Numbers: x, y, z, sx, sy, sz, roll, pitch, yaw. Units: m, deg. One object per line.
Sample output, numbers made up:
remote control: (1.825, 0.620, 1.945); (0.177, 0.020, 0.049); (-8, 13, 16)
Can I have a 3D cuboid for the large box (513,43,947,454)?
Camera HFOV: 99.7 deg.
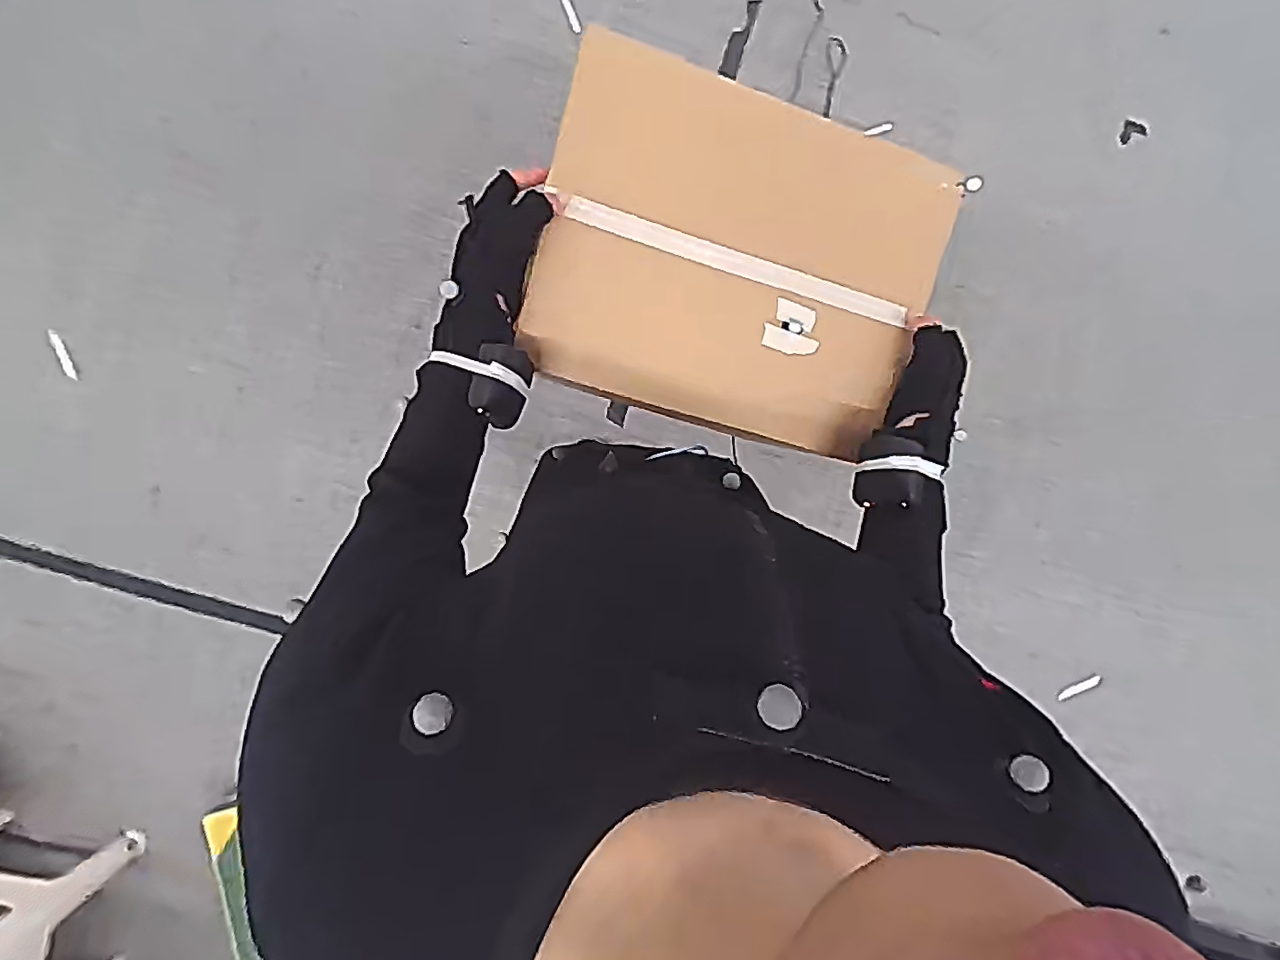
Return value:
large box: (0.076, -0.242, 0.700); (0.408, 0.320, 0.320); (15, 98, -10)
